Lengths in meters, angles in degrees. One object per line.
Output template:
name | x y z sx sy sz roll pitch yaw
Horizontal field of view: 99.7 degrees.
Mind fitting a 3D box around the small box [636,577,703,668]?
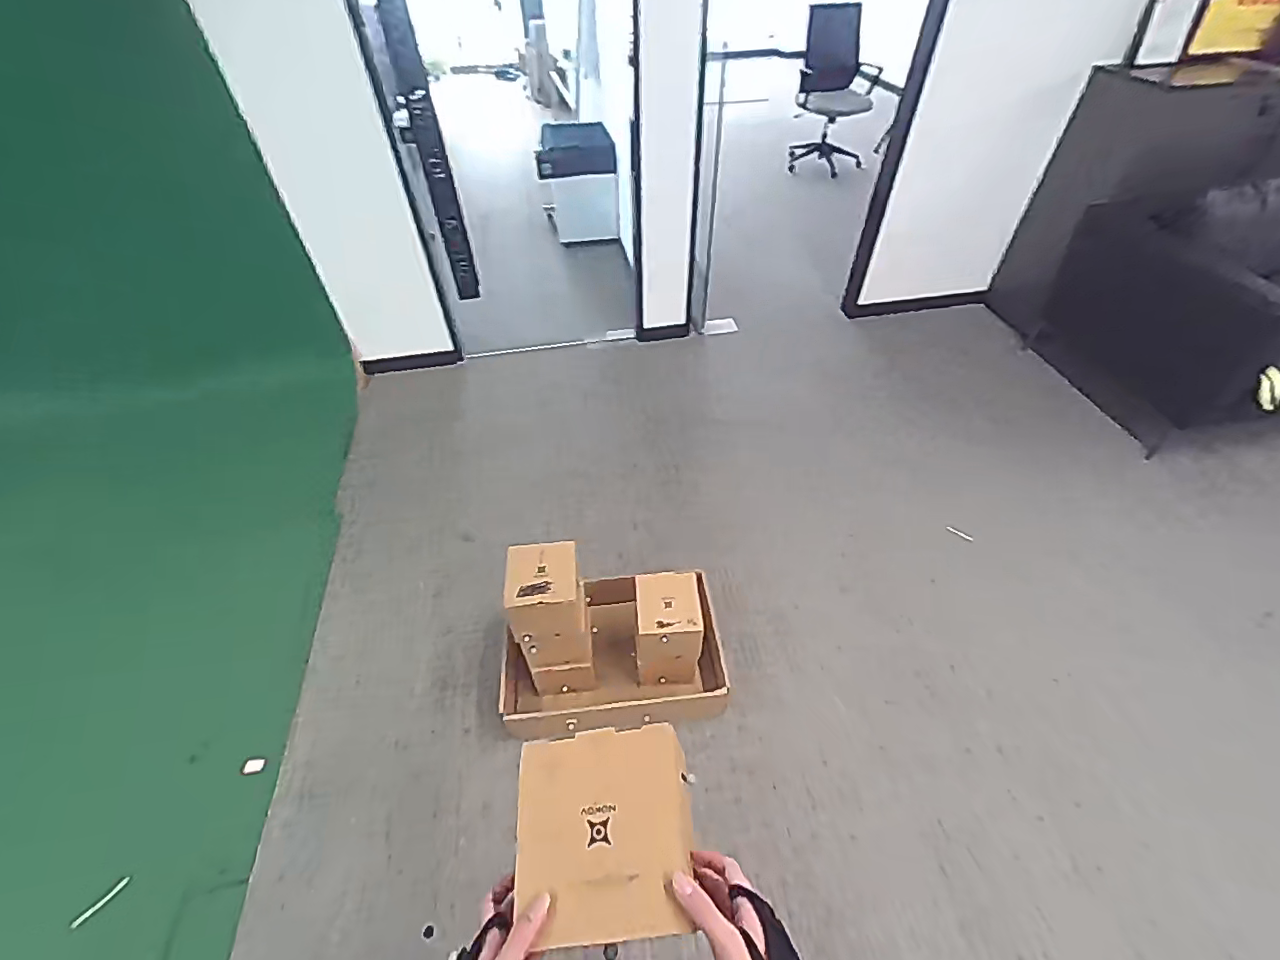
small box | 0.073 0.384 1.458 0.168 0.176 0.179 -3 46 -2

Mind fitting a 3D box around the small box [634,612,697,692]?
small box | 0.068 0.496 1.578 0.168 0.176 0.179 -5 47 -3

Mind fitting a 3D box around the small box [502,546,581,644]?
small box | -0.236 0.288 1.329 0.168 0.176 0.179 -5 45 -4

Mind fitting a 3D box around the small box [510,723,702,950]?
small box | -0.029 0.385 0.584 0.168 0.176 0.179 -10 51 4

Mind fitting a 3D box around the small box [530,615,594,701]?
small box | -0.221 0.516 1.565 0.168 0.176 0.179 -5 45 -3
